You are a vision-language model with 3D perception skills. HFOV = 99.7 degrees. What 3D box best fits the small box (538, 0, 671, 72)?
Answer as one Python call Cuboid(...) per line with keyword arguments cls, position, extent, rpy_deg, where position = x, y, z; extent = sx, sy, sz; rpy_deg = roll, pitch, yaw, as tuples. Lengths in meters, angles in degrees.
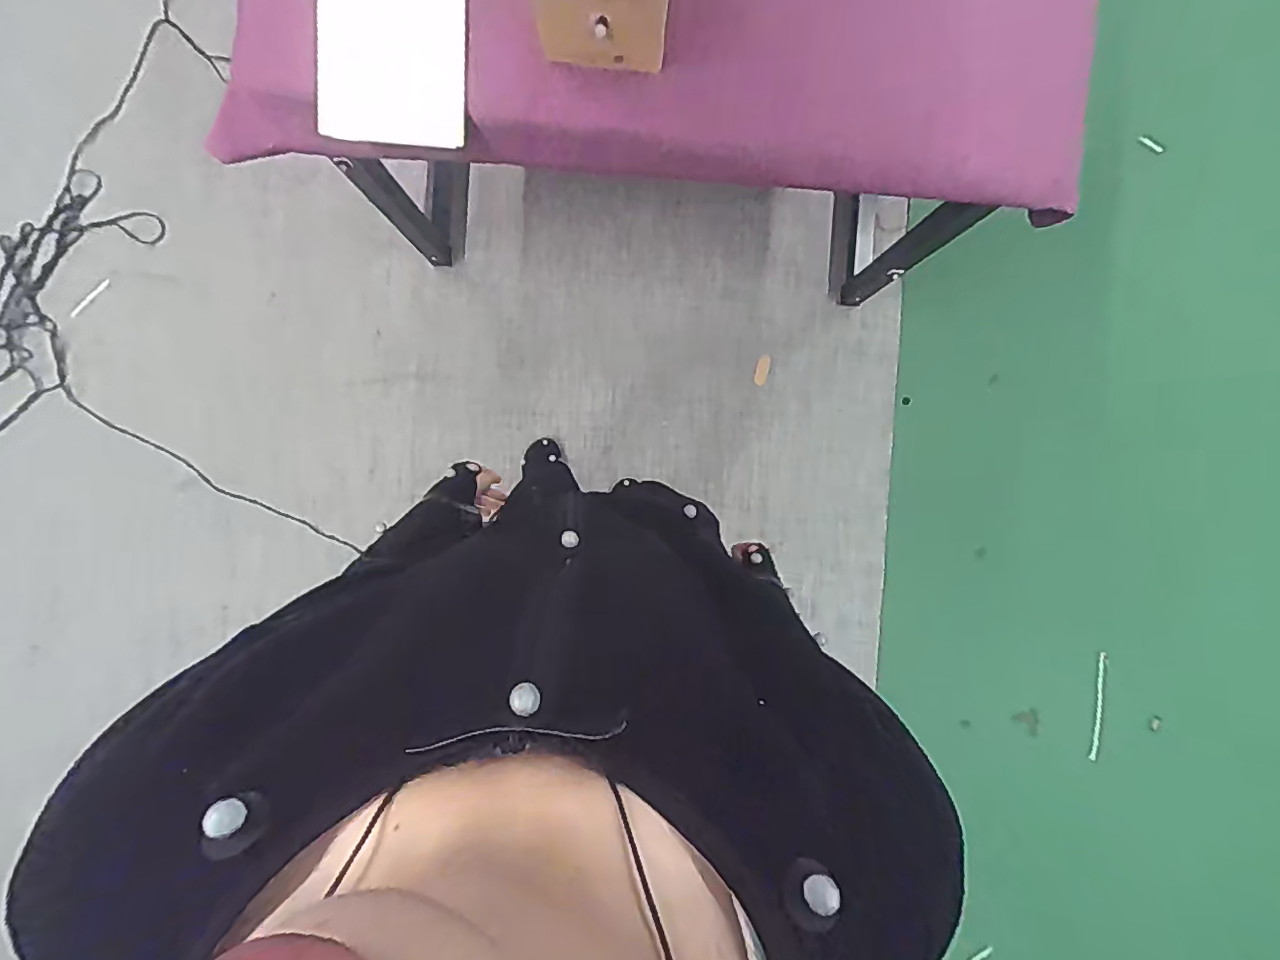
Cuboid(cls="small box", position=(-0.039, -0.668, 0.690), extent=(0.168, 0.176, 0.179), rpy_deg=(5, 92, -2))
